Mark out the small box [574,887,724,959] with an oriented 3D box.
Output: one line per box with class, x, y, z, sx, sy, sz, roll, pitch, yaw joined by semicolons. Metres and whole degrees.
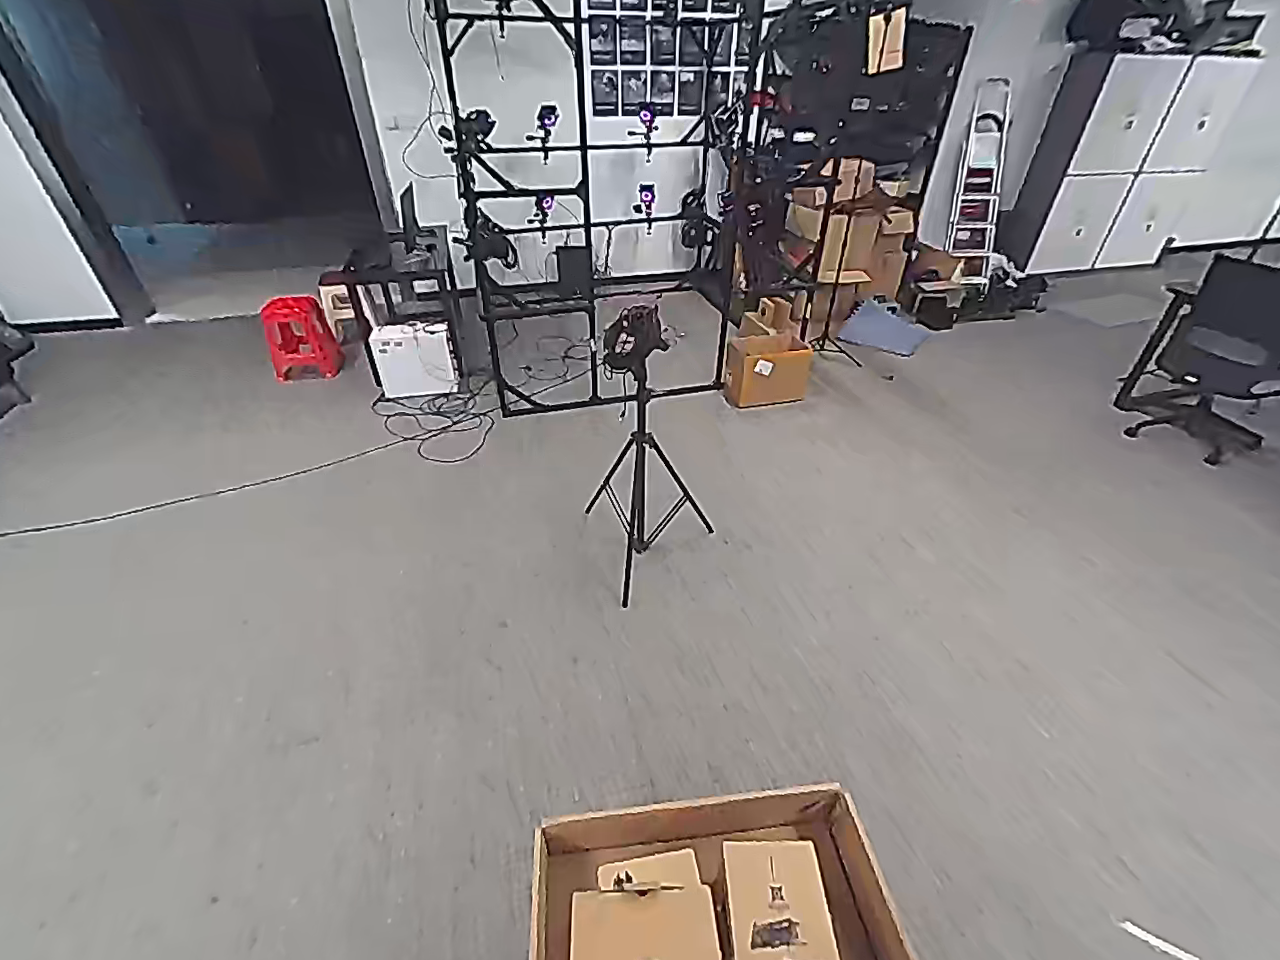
small box;0.006;0.596;0.604;0.168;0.176;0.179;0;31;-5
